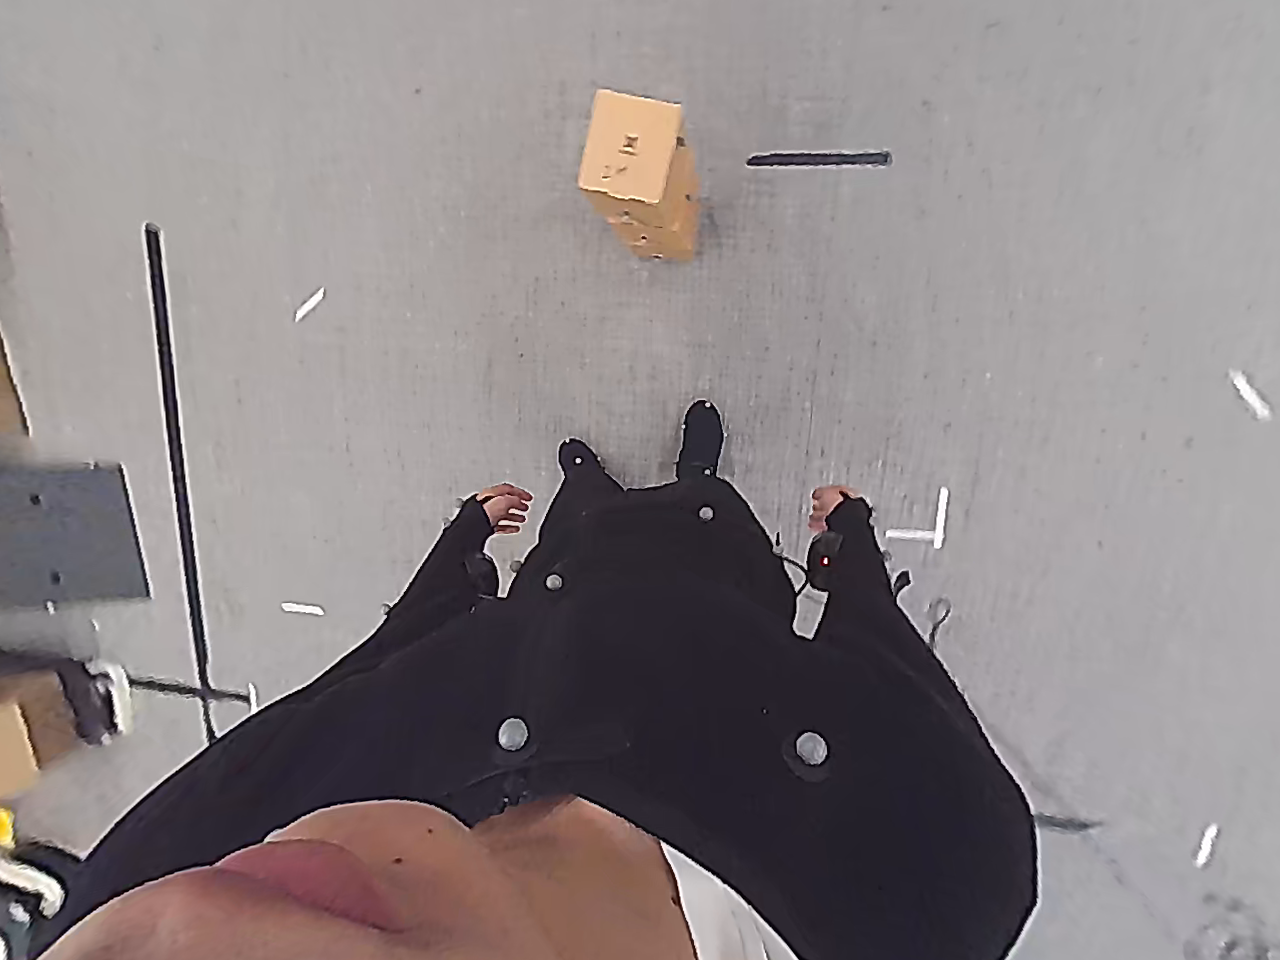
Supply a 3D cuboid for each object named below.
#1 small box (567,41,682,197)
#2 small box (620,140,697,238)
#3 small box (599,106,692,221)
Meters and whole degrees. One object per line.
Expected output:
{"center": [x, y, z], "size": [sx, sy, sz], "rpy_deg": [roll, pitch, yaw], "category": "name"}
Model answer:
{"center": [-0.021, -0.664, 1.013], "size": [0.168, 0.176, 0.179], "rpy_deg": [16, 104, 5], "category": "small box"}
{"center": [0.049, -0.713, 1.329], "size": [0.168, 0.176, 0.179], "rpy_deg": [8, 102, 7], "category": "small box"}
{"center": [0.017, -0.686, 1.173], "size": [0.168, 0.176, 0.179], "rpy_deg": [11, 103, 6], "category": "small box"}
